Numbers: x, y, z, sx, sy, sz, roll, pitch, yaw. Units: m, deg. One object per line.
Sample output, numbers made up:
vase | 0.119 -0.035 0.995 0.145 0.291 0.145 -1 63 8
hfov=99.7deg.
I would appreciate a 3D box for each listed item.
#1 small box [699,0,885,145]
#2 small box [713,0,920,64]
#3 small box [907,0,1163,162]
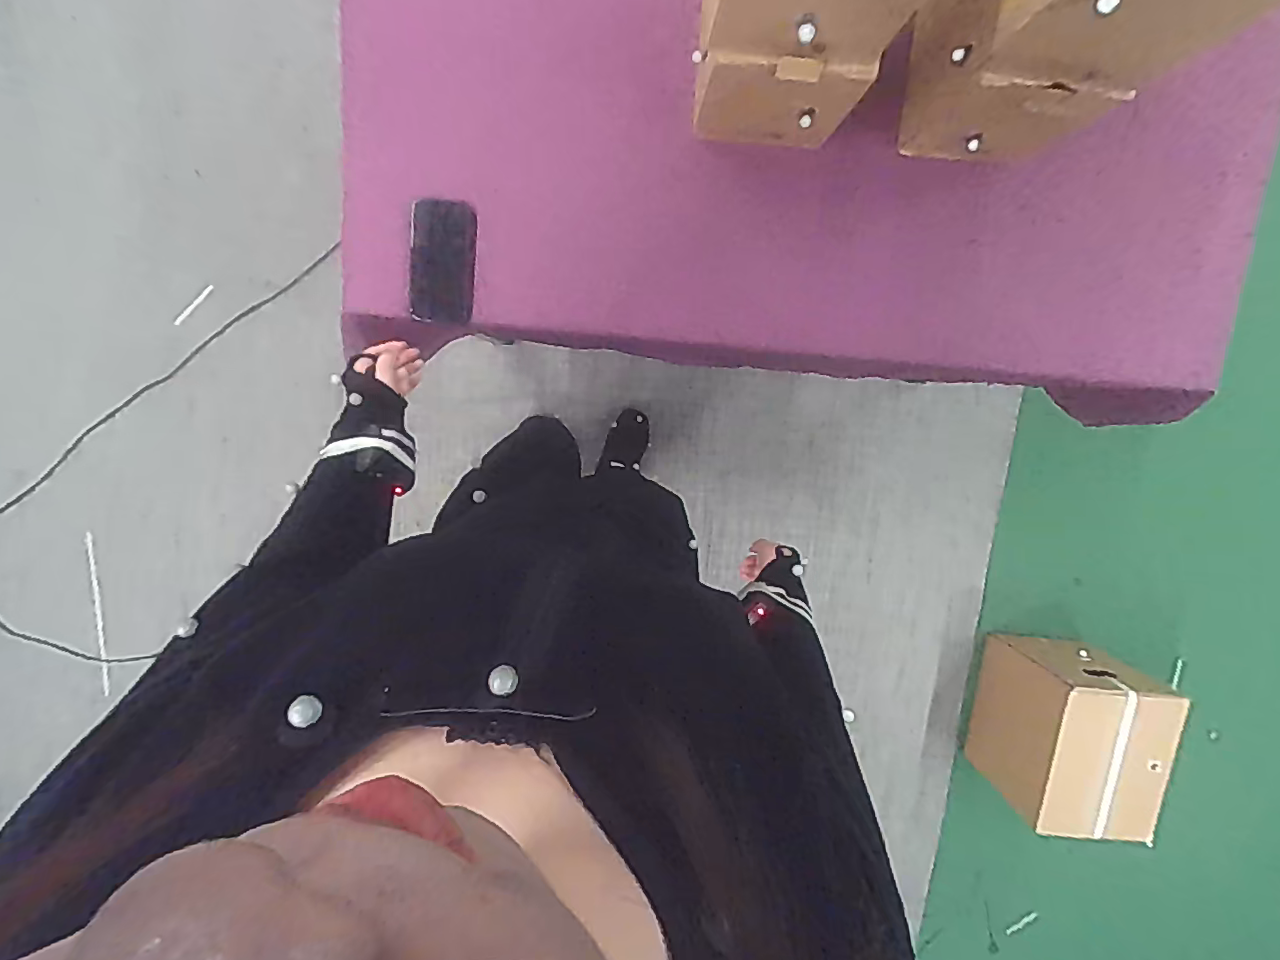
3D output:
small box | 0.161 -0.499 0.595 0.168 0.176 0.179 4 99 -3
small box | 0.156 -0.482 0.430 0.168 0.176 0.179 3 100 -2
small box | 0.426 -0.489 0.603 0.168 0.176 0.179 4 100 -2
